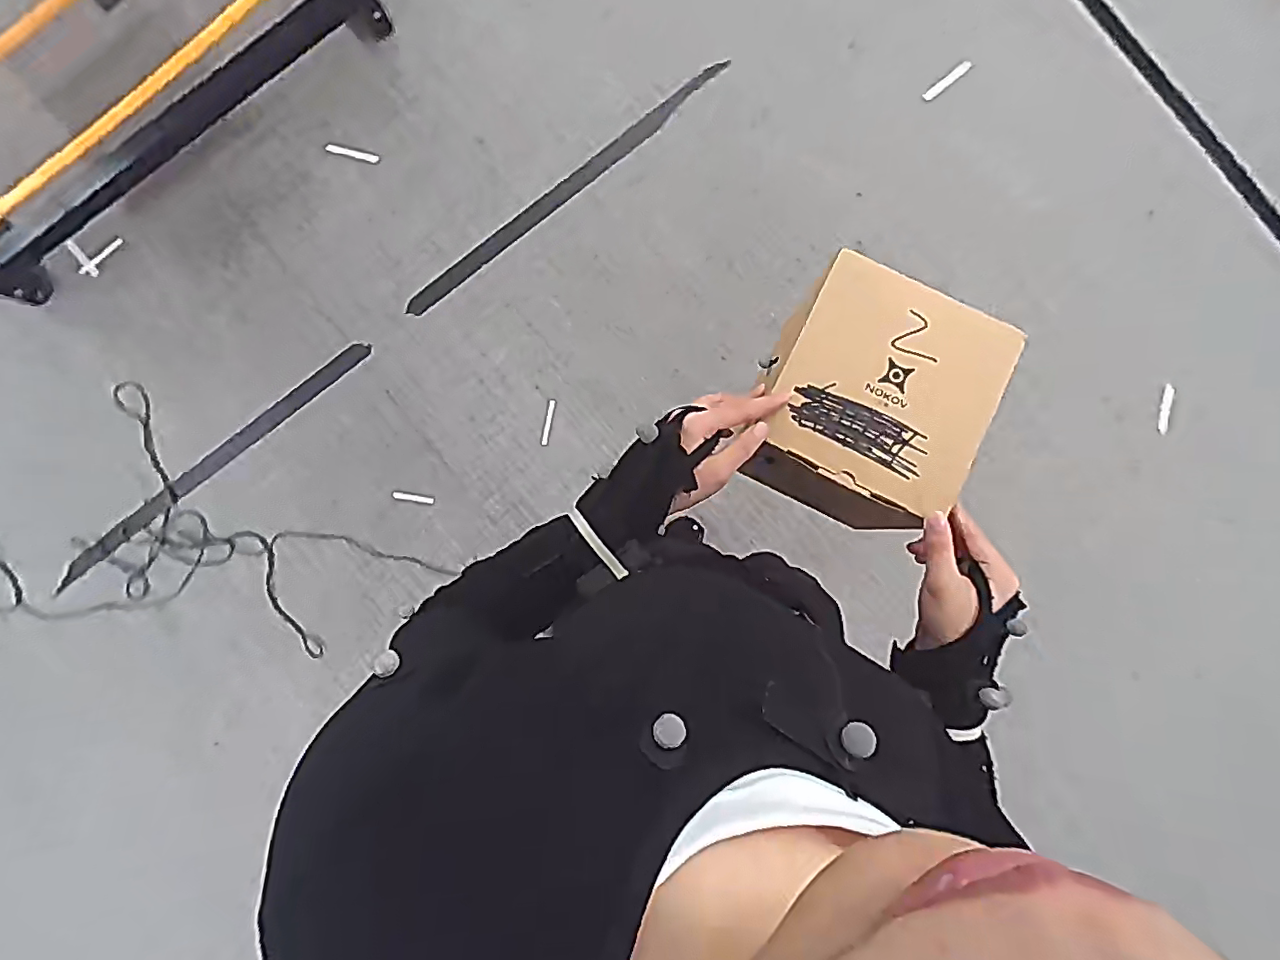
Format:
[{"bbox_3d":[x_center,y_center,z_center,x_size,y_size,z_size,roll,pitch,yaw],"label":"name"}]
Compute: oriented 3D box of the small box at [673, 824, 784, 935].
[{"bbox_3d":[0.187,0.915,1.207,0.168,0.176,0.179,-35,90,0],"label":"small box"}]
